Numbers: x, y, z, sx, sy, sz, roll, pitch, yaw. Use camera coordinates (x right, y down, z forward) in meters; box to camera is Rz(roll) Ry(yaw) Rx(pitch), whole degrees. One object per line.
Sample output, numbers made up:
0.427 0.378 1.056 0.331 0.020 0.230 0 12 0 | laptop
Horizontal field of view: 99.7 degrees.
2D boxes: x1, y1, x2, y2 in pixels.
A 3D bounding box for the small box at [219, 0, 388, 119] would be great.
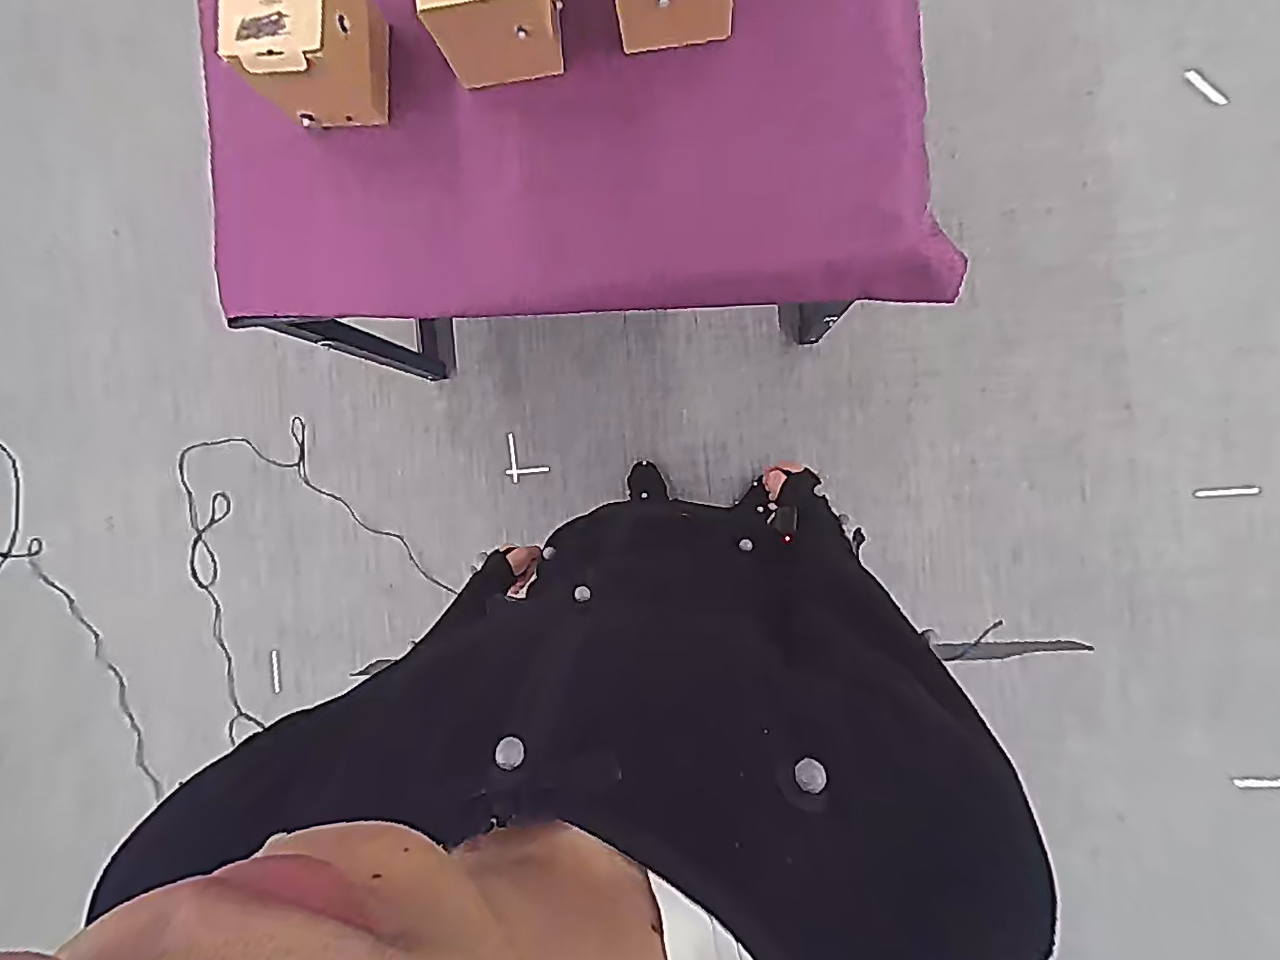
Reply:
-0.522 -0.706 0.858 0.168 0.176 0.179 2 92 6 | small box
